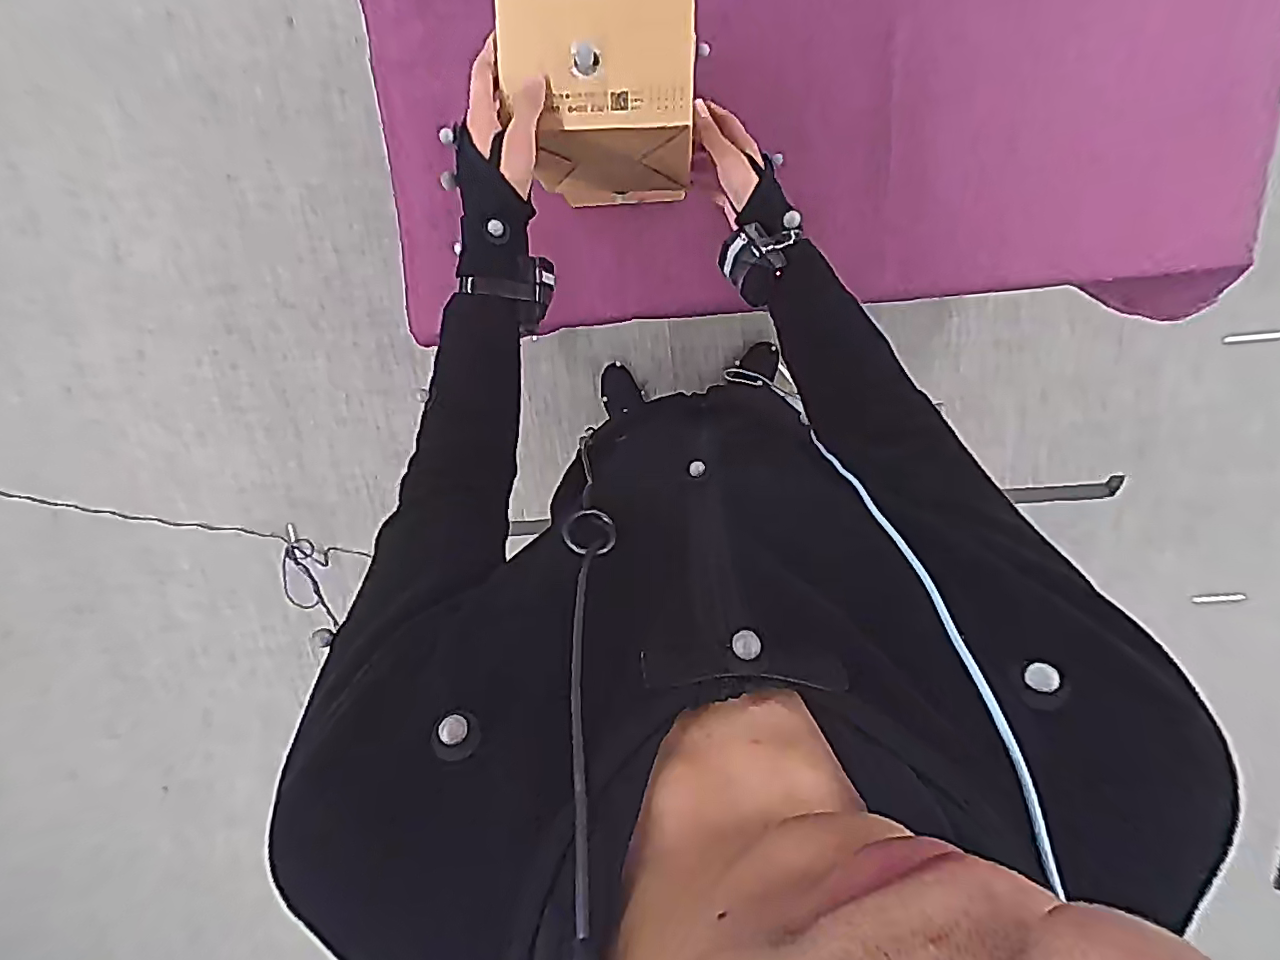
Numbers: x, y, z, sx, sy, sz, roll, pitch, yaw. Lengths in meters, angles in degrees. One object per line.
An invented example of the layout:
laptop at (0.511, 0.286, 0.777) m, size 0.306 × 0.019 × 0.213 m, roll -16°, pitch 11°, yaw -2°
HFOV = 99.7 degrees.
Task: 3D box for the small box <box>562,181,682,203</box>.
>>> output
small box at (-0.028, -0.462, 0.687) m, size 0.168 × 0.176 × 0.179 m, roll -2°, pitch 105°, yaw 1°

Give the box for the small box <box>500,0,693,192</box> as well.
small box at (-0.033, -0.392, 0.522) m, size 0.168 × 0.179 × 0.176 m, roll 1°, pitch 103°, yaw 4°
